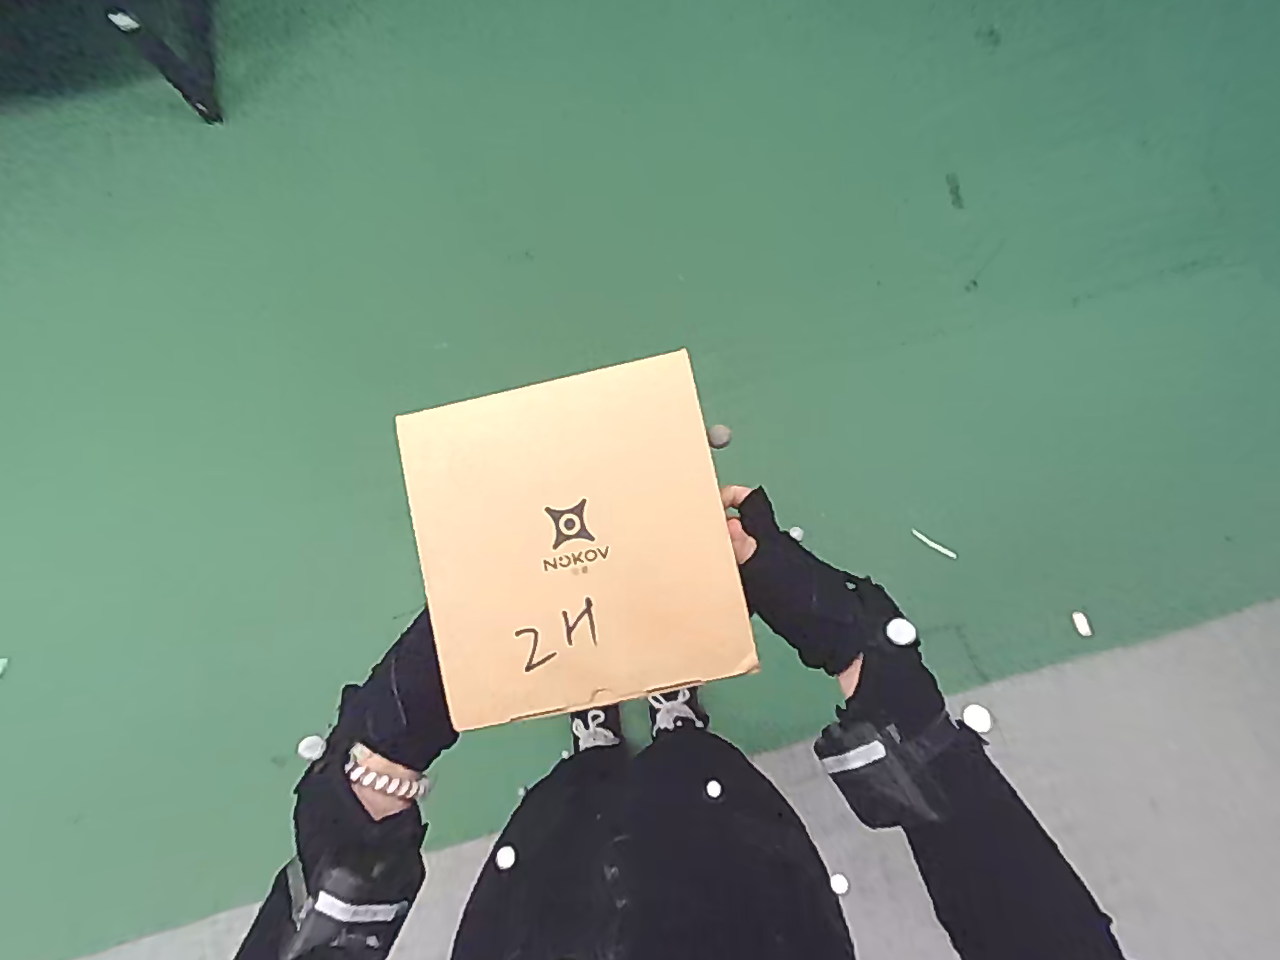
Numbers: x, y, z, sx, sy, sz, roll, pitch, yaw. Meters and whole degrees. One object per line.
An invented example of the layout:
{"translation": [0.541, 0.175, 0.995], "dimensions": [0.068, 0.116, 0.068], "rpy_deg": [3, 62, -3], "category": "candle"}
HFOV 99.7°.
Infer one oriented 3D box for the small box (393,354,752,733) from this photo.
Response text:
{"translation": [-0.035, 0.038, 0.366], "dimensions": [0.168, 0.176, 0.179], "rpy_deg": [-13, 86, 3], "category": "small box"}
